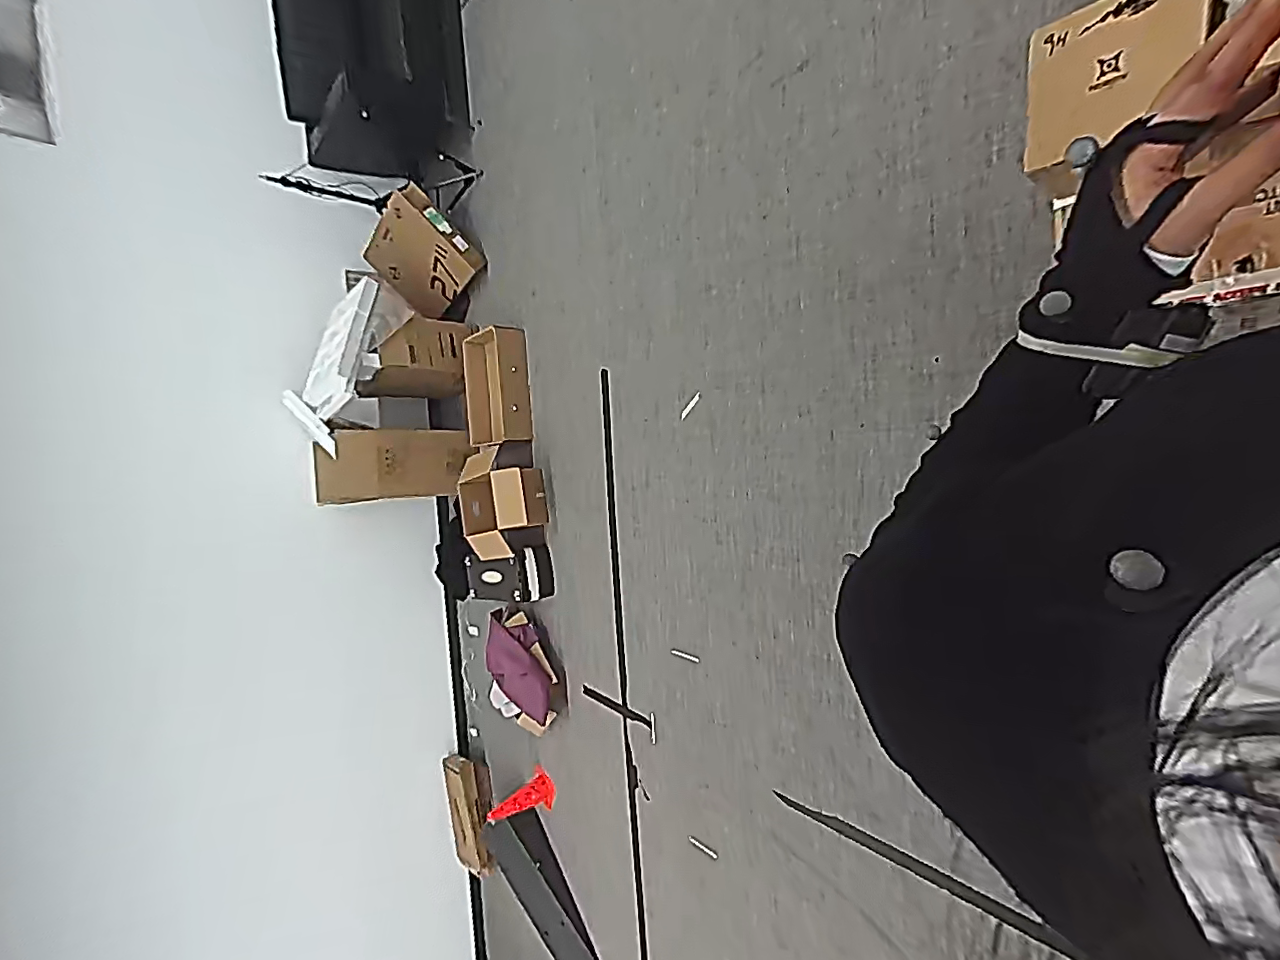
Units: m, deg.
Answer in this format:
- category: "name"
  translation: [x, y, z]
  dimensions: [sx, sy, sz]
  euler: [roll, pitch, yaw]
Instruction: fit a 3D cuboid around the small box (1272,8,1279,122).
- category: "small box"
  translation: [0.376, -0.258, 0.204]
  dimensions: [0.168, 0.176, 0.179]
  euler: [9, 108, 49]
